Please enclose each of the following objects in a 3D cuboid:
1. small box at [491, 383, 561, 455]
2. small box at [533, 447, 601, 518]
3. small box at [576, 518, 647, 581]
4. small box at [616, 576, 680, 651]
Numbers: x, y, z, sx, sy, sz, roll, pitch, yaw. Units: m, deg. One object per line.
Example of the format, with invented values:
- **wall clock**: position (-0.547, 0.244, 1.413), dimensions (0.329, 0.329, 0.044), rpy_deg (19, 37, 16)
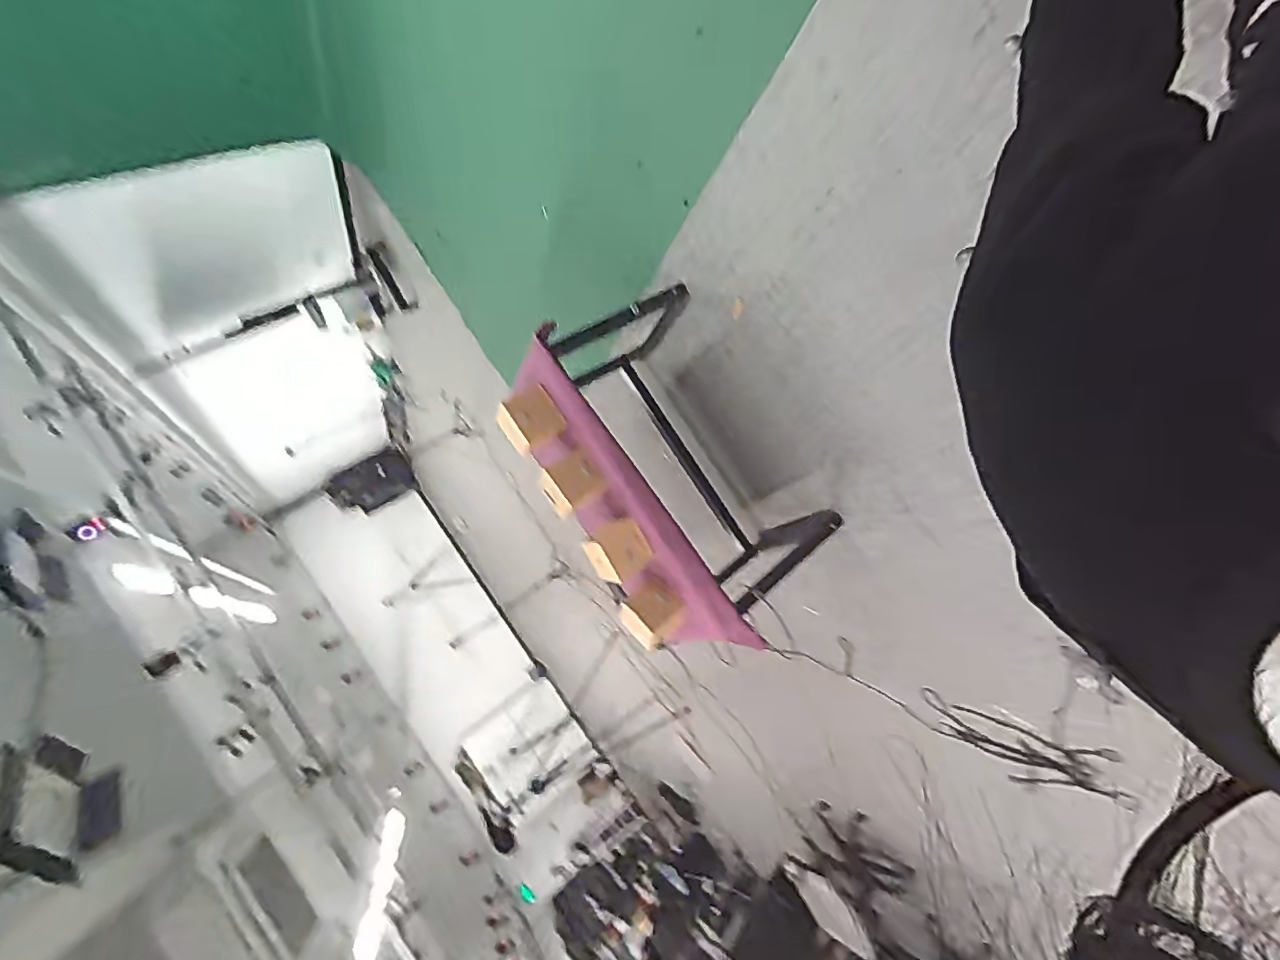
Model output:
- **small box**: position (-0.409, -0.221, 1.949), dimensions (0.179, 0.176, 0.168), rpy_deg (56, 154, 0)
- **small box**: position (-0.265, 0.009, 1.963), dimensions (0.168, 0.176, 0.179), rpy_deg (54, 152, 5)
- **small box**: position (-0.097, 0.246, 1.950), dimensions (0.168, 0.176, 0.179), rpy_deg (61, 153, -10)
- **small box**: position (0.029, 0.490, 1.998), dimensions (0.168, 0.176, 0.179), rpy_deg (42, 149, 25)
